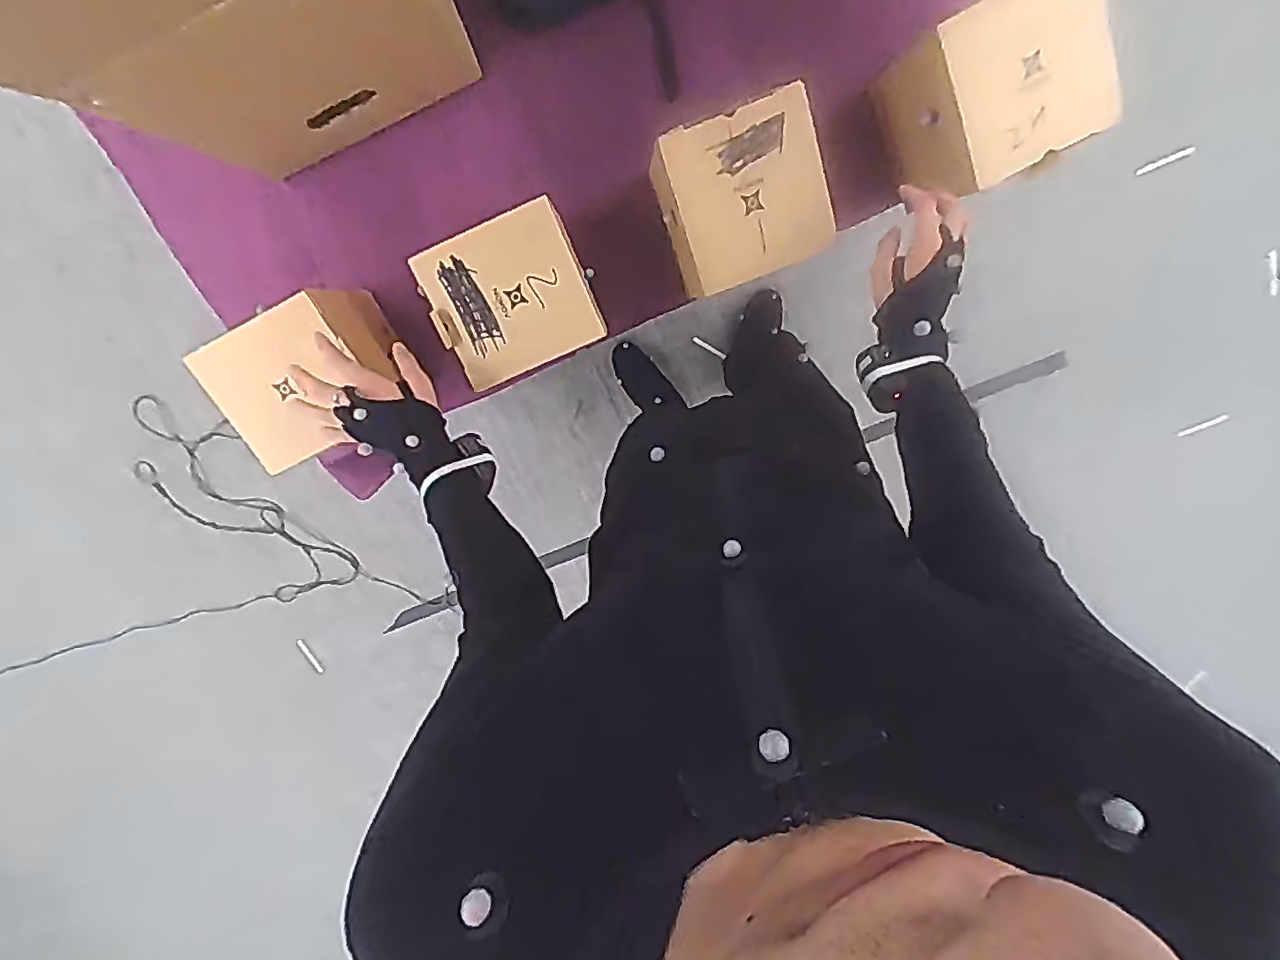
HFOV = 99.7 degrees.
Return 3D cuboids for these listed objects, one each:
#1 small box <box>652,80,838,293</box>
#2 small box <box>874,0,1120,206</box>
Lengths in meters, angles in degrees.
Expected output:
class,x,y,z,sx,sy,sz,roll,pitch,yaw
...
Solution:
class,x,y,z,sx,sy,sz,roll,pitch,yaw
small box,0.119,-0.344,0.675,0.168,0.176,0.179,-20,109,5
small box,0.410,-0.459,0.647,0.168,0.176,0.179,-25,108,7
